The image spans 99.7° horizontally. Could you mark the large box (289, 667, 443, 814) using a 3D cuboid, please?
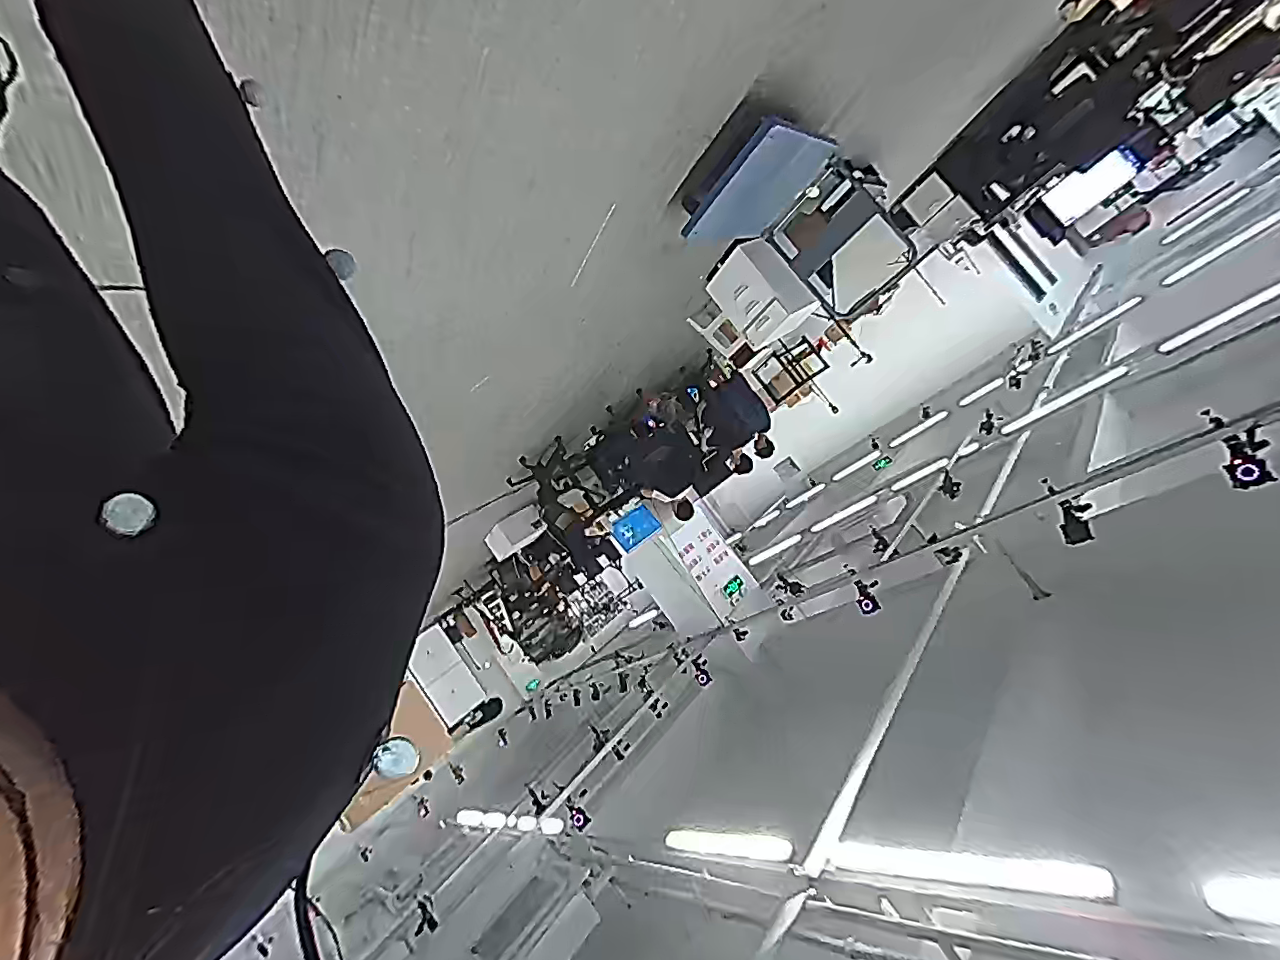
[{"bbox_3d":[-1.038,0.976,2.051,0.408,0.320,0.320,-31,173,-43],"label":"large box"}]
